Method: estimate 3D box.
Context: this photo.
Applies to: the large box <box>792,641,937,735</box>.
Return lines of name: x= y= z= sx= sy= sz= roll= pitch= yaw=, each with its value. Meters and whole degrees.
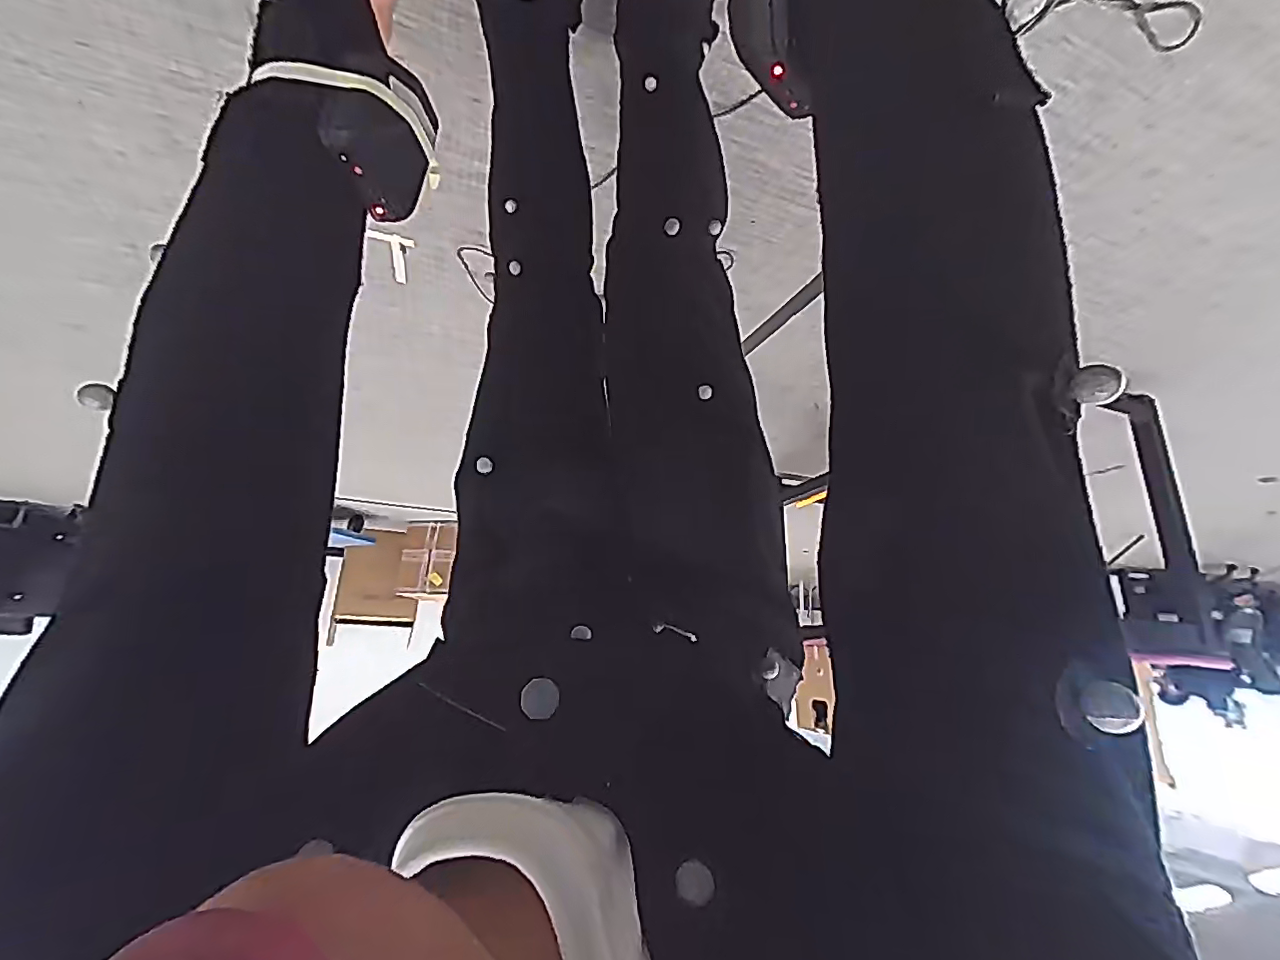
large box: x=0.855 y=0.793 z=2.100 sx=0.408 sy=0.320 sz=0.320 roll=6 pitch=163 yaw=-19
